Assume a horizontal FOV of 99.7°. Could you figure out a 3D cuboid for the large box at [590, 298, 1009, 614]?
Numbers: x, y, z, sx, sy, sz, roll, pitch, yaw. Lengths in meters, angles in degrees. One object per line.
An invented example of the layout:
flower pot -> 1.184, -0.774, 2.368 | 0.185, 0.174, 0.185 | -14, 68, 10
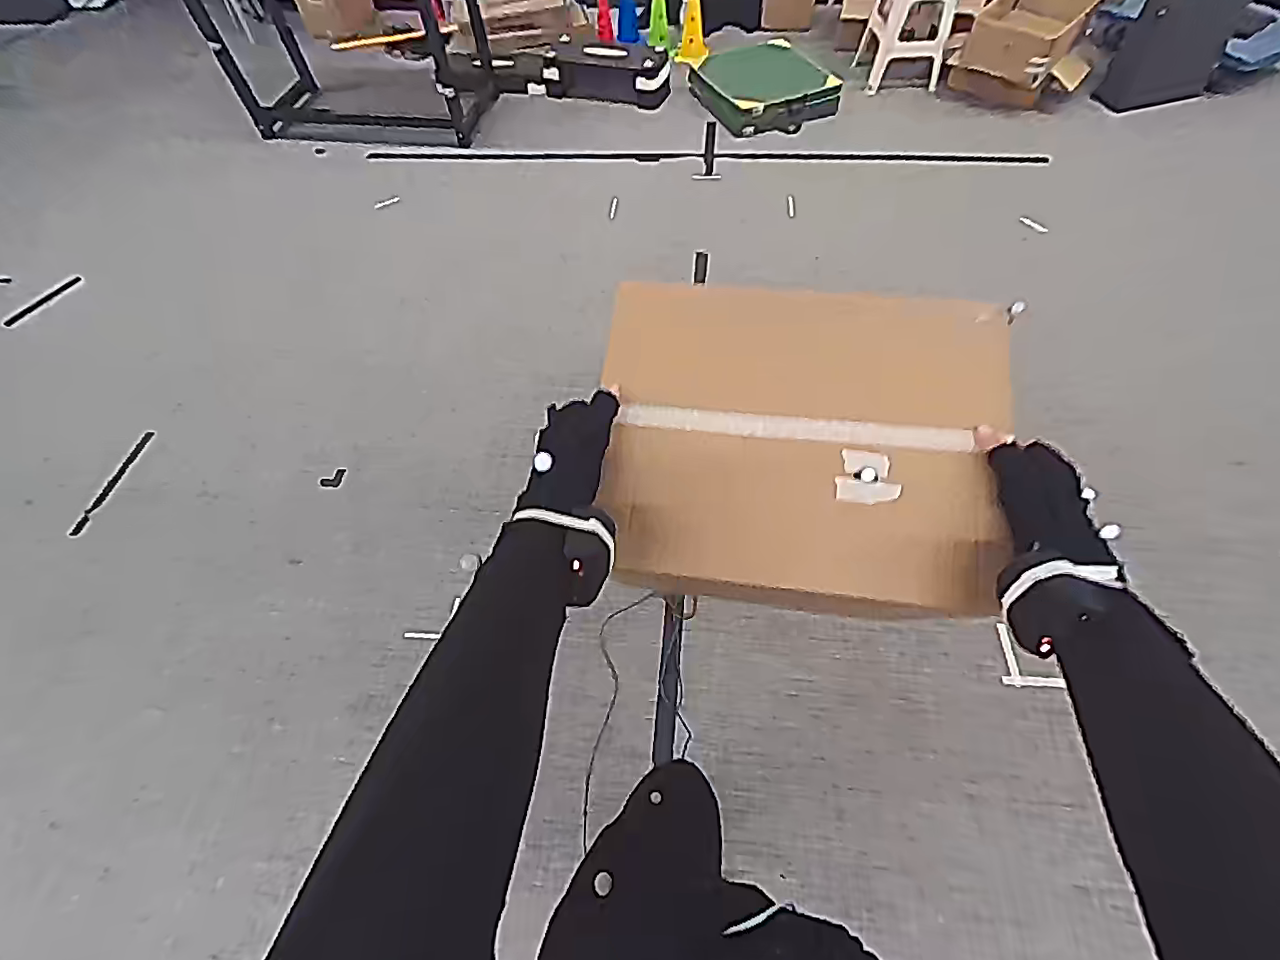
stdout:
large box -> 0.171, -0.006, 0.697 | 0.408, 0.320, 0.320 | 5, 77, 6
